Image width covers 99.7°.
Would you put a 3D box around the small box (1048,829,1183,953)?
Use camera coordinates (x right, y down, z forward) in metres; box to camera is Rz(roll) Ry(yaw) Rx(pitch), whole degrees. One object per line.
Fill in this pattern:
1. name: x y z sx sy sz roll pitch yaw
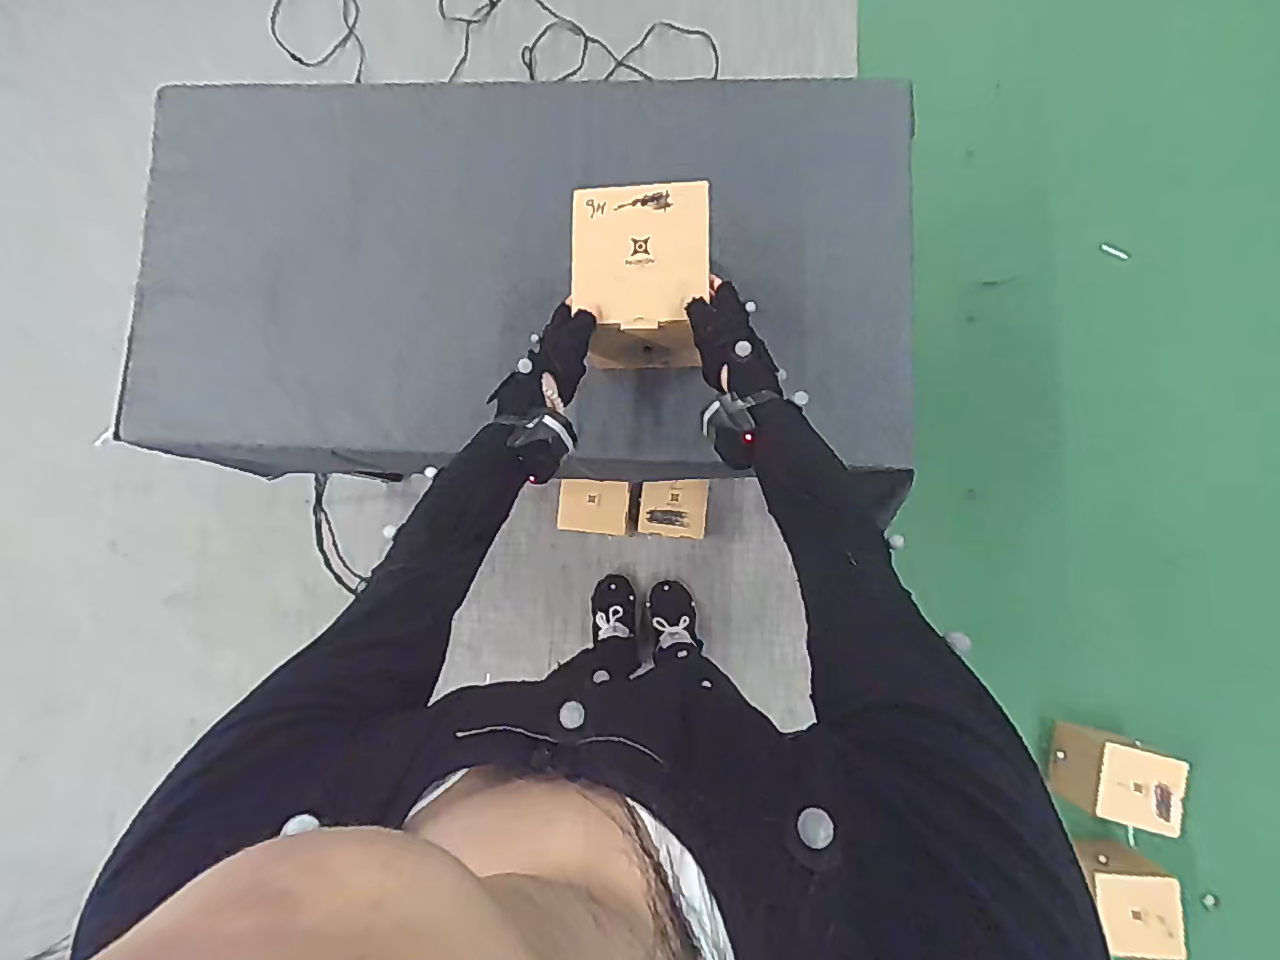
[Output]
1. small box: 1.082 0.938 1.248 0.179 0.176 0.168 0 84 3

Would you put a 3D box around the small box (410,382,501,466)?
1. small box: -0.487 -0.145 1.459 0.168 0.176 0.179 10 84 5

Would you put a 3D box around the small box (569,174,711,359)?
1. small box: 0.008 -0.261 0.706 0.168 0.176 0.179 0 85 6

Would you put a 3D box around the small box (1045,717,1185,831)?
1. small box: 1.111 0.682 1.276 0.179 0.176 0.168 13 84 6
